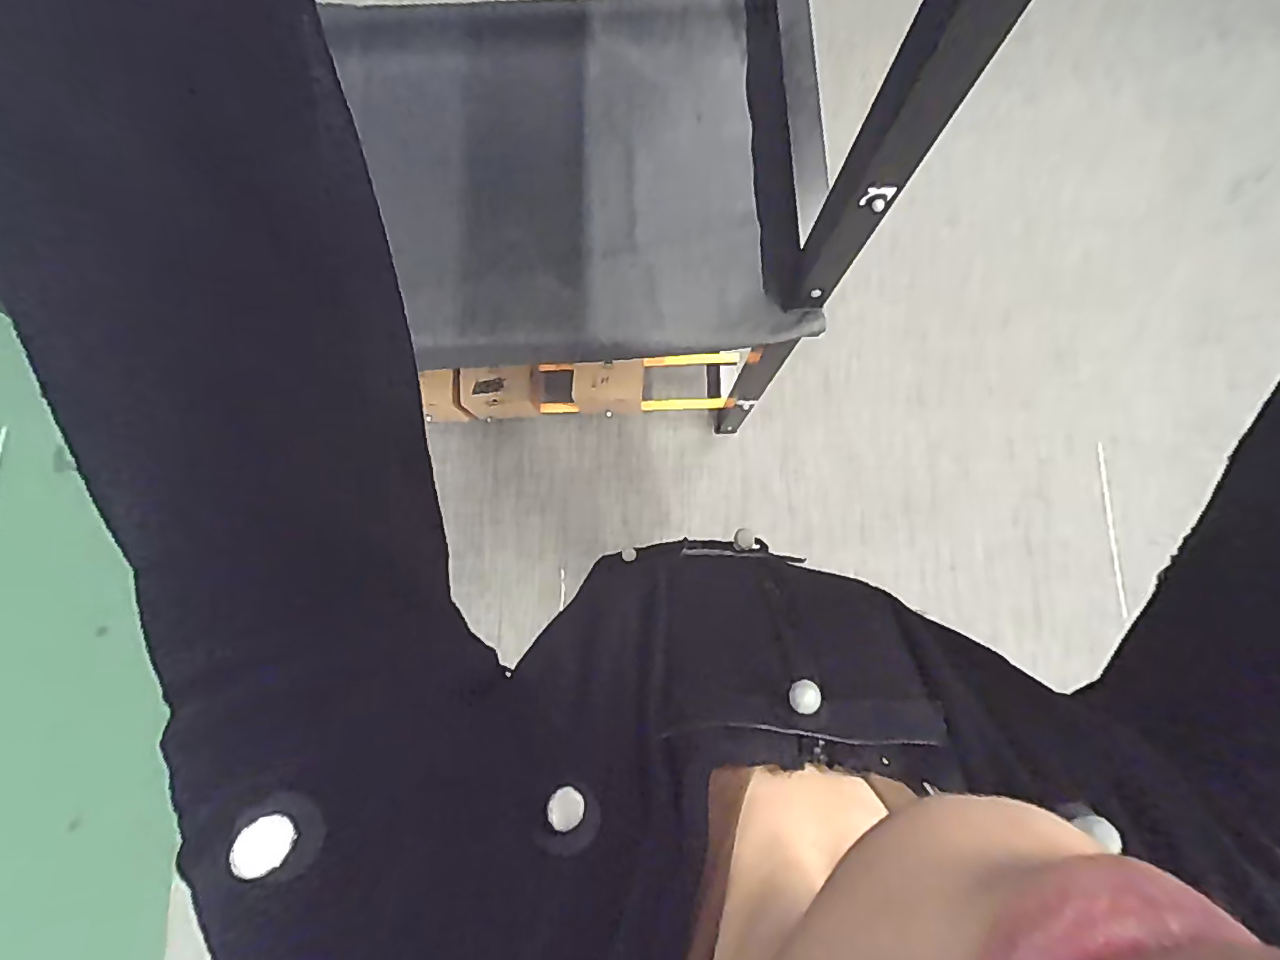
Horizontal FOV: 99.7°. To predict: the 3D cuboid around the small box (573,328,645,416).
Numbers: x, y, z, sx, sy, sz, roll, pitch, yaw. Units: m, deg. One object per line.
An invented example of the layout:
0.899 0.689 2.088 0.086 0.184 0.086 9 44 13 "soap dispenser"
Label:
-0.074 -0.273 1.394 0.168 0.176 0.179 3 83 2 "small box"
